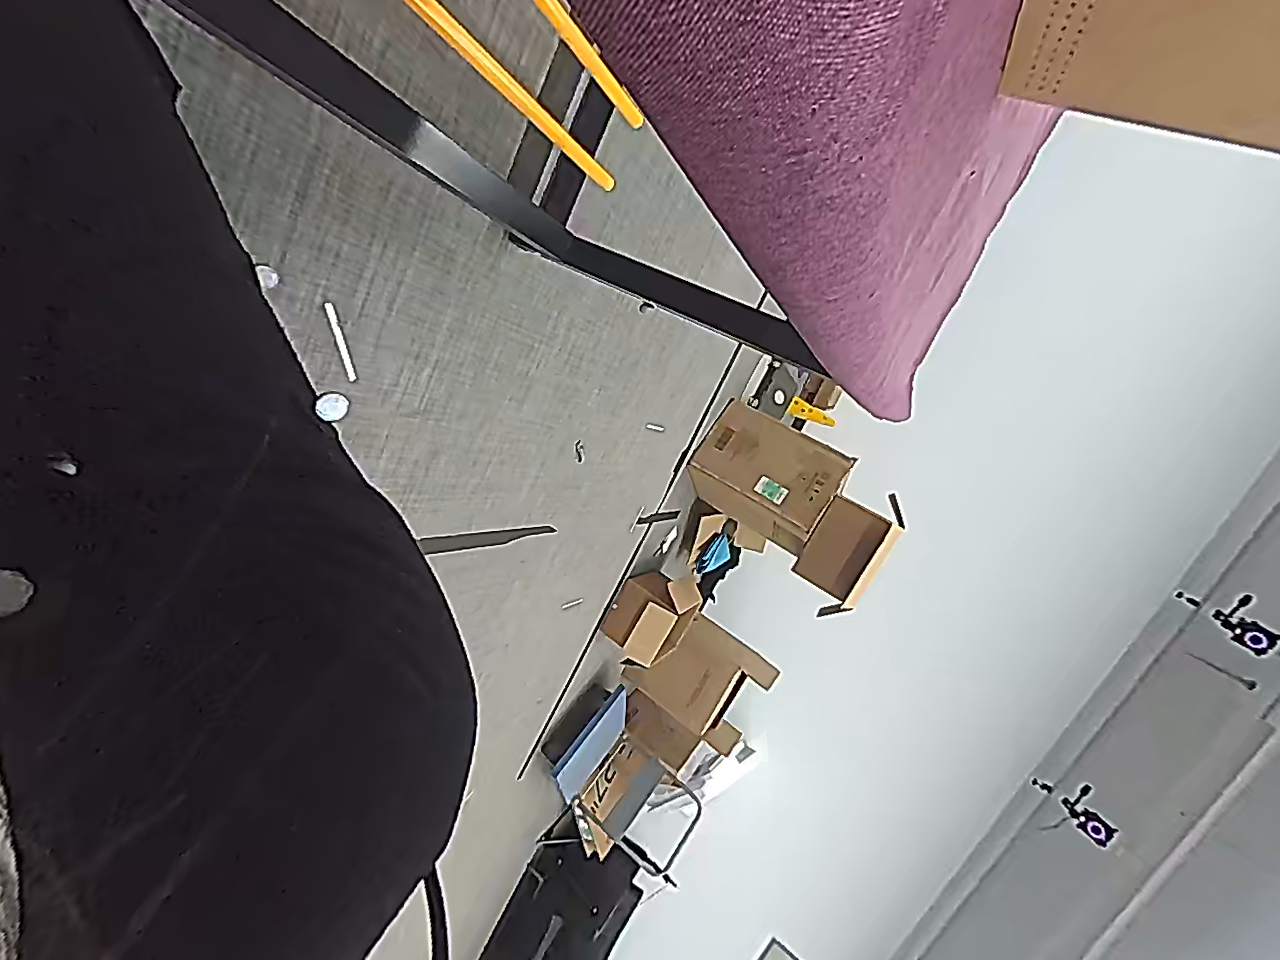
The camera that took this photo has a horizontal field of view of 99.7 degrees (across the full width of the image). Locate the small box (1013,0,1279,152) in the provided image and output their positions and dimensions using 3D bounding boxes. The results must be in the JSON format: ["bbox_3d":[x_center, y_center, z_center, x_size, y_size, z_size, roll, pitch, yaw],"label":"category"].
[{"bbox_3d":[0.259,-0.242,0.170,0.168,0.176,0.179,-64,159,10],"label":"small box"}]
